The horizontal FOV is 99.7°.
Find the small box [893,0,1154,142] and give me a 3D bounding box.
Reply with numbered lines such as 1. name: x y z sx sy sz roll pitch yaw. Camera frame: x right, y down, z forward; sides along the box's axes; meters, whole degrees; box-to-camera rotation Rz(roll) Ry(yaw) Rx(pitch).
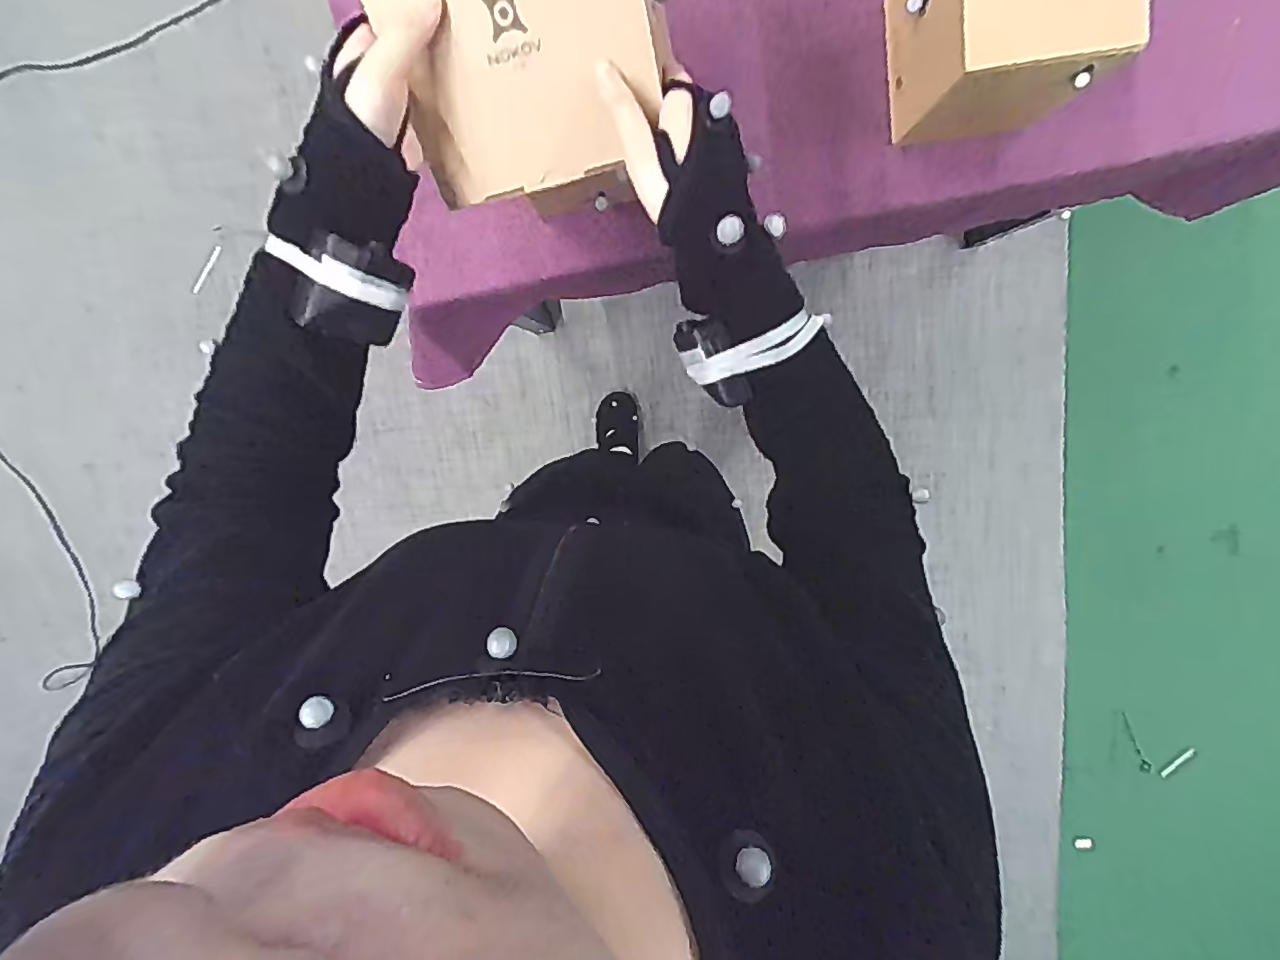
1. small box: 0.387 -0.490 0.577 0.179 0.176 0.168 -7 100 2

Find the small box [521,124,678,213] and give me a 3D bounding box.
1. small box: -0.059 -0.416 0.599 0.179 0.176 0.168 -8 100 2

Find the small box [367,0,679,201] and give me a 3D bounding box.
1. small box: -0.069 -0.322 0.384 0.168 0.176 0.179 -6 124 12
